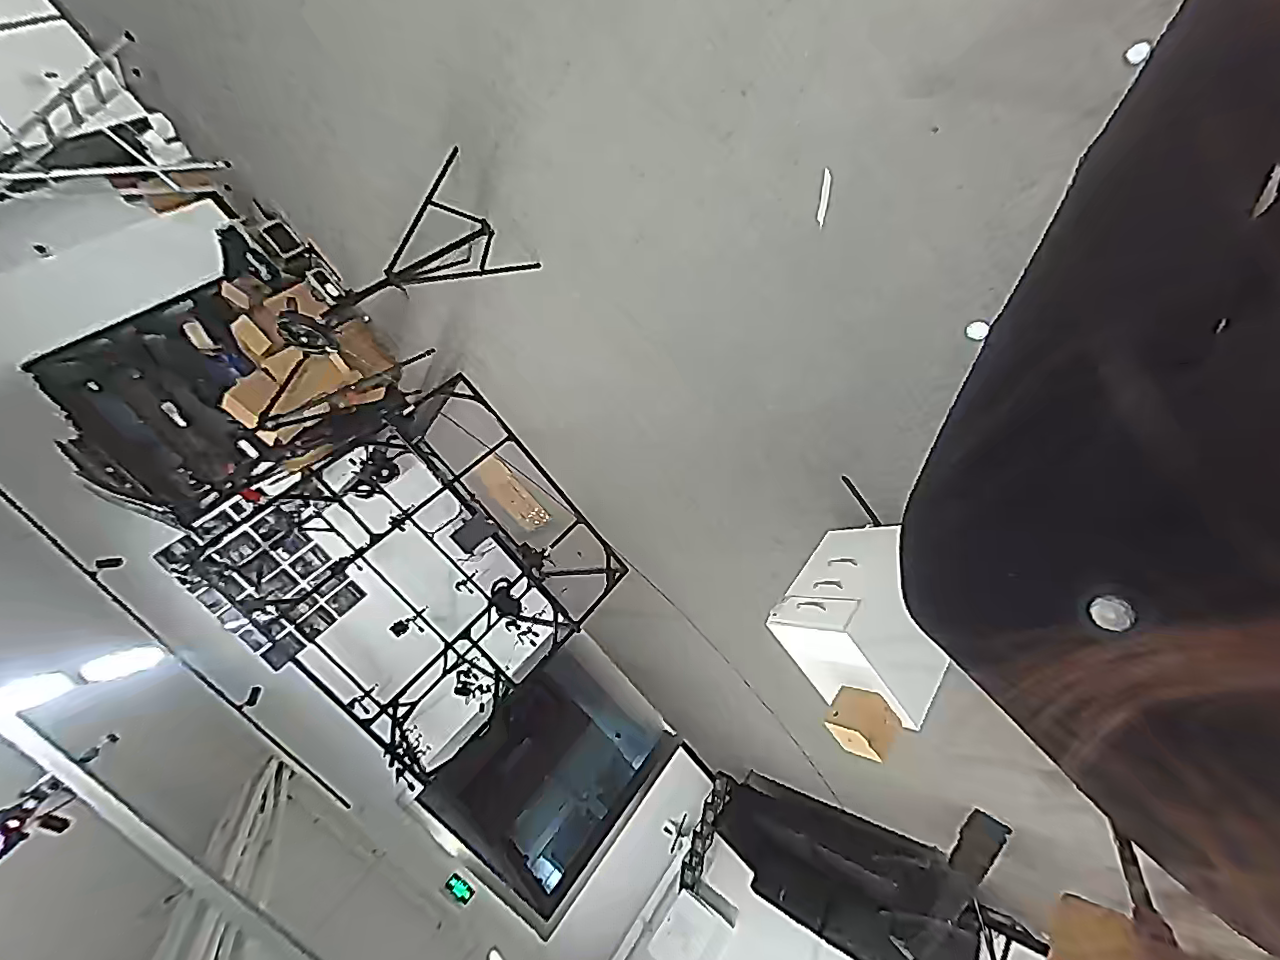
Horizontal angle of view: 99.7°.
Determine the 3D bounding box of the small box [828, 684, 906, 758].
[{"bbox_3d":[0.842,0.882,2.001,0.168,0.176,0.179,51,153,-12],"label":"small box"}]
